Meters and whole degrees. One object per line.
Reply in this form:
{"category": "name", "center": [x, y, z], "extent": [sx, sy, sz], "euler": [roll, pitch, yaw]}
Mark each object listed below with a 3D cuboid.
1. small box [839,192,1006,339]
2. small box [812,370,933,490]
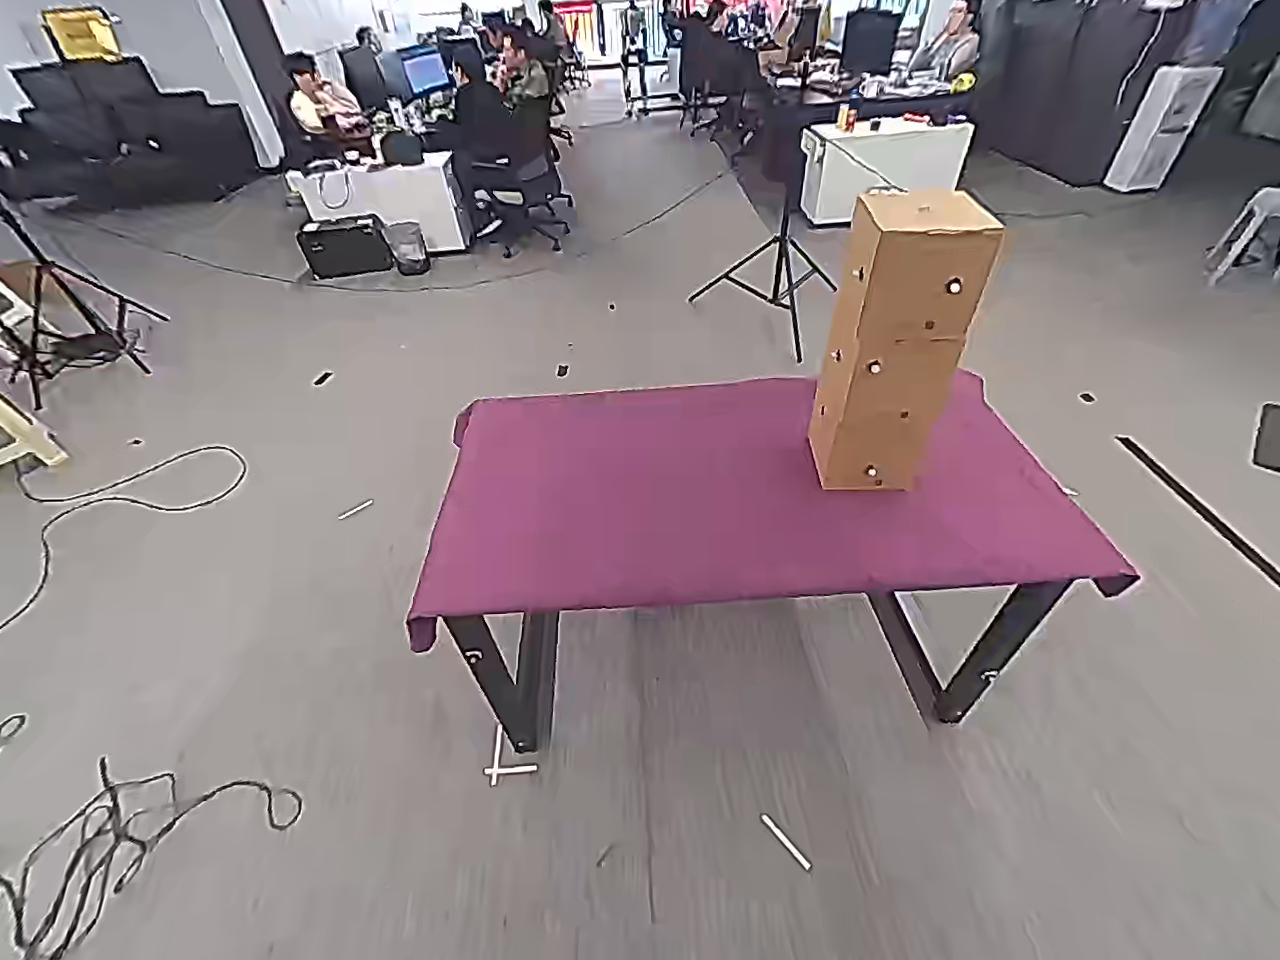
{"category": "small box", "center": [0.423, -0.333, 0.844], "extent": [0.168, 0.176, 0.179], "euler": [2, 42, 5]}
{"category": "small box", "center": [0.446, -0.100, 1.072], "extent": [0.168, 0.176, 0.179], "euler": [-1, 43, 5]}
